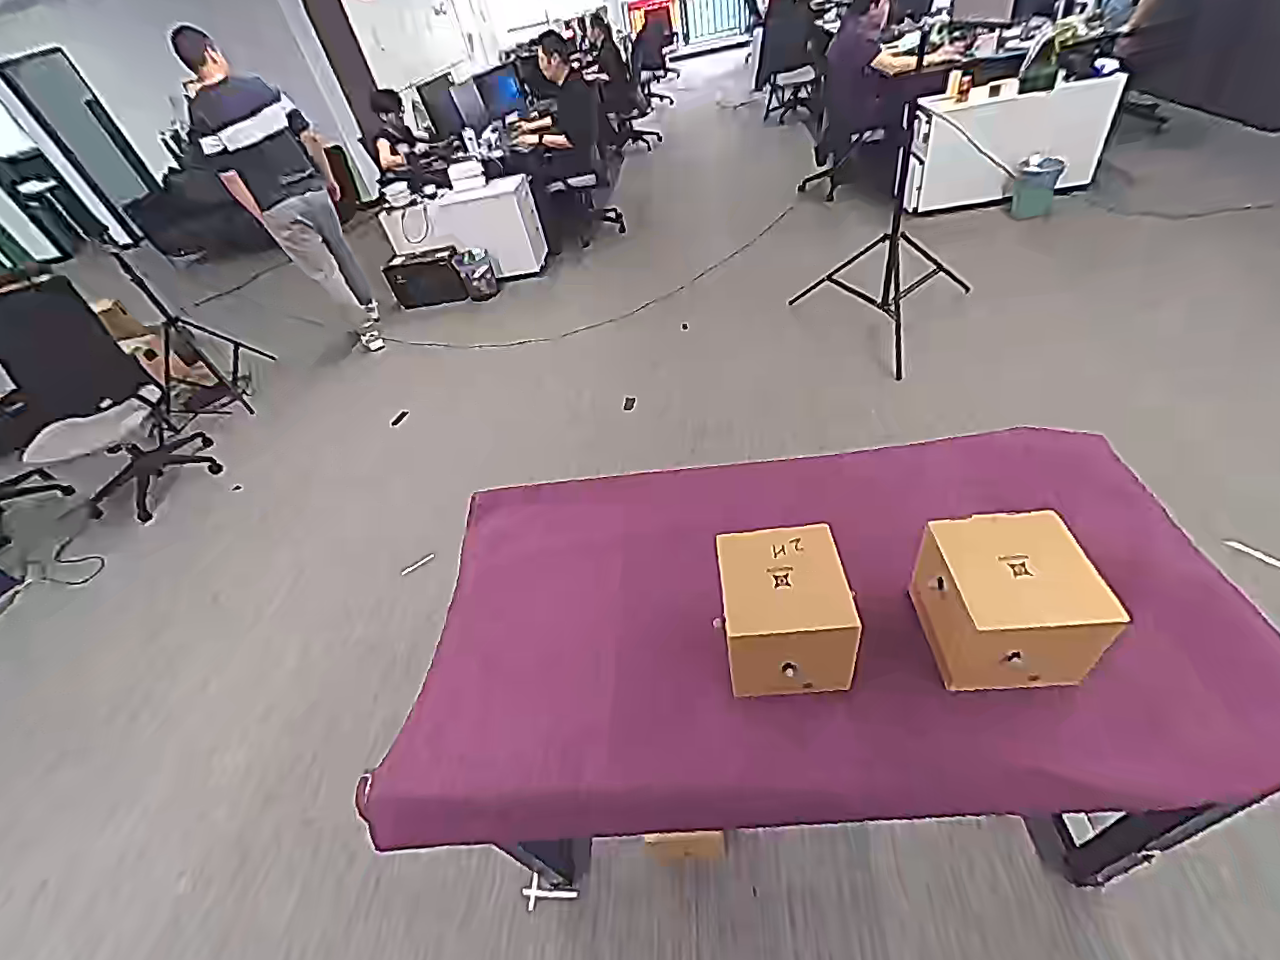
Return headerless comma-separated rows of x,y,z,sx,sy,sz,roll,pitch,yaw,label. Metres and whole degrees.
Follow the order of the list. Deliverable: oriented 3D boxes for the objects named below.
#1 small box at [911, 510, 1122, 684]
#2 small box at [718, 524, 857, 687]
0.494,0.167,0.745,0.168,0.176,0.179,-6,43,9,small box
0.208,0.190,0.794,0.168,0.176,0.179,-6,42,7,small box
